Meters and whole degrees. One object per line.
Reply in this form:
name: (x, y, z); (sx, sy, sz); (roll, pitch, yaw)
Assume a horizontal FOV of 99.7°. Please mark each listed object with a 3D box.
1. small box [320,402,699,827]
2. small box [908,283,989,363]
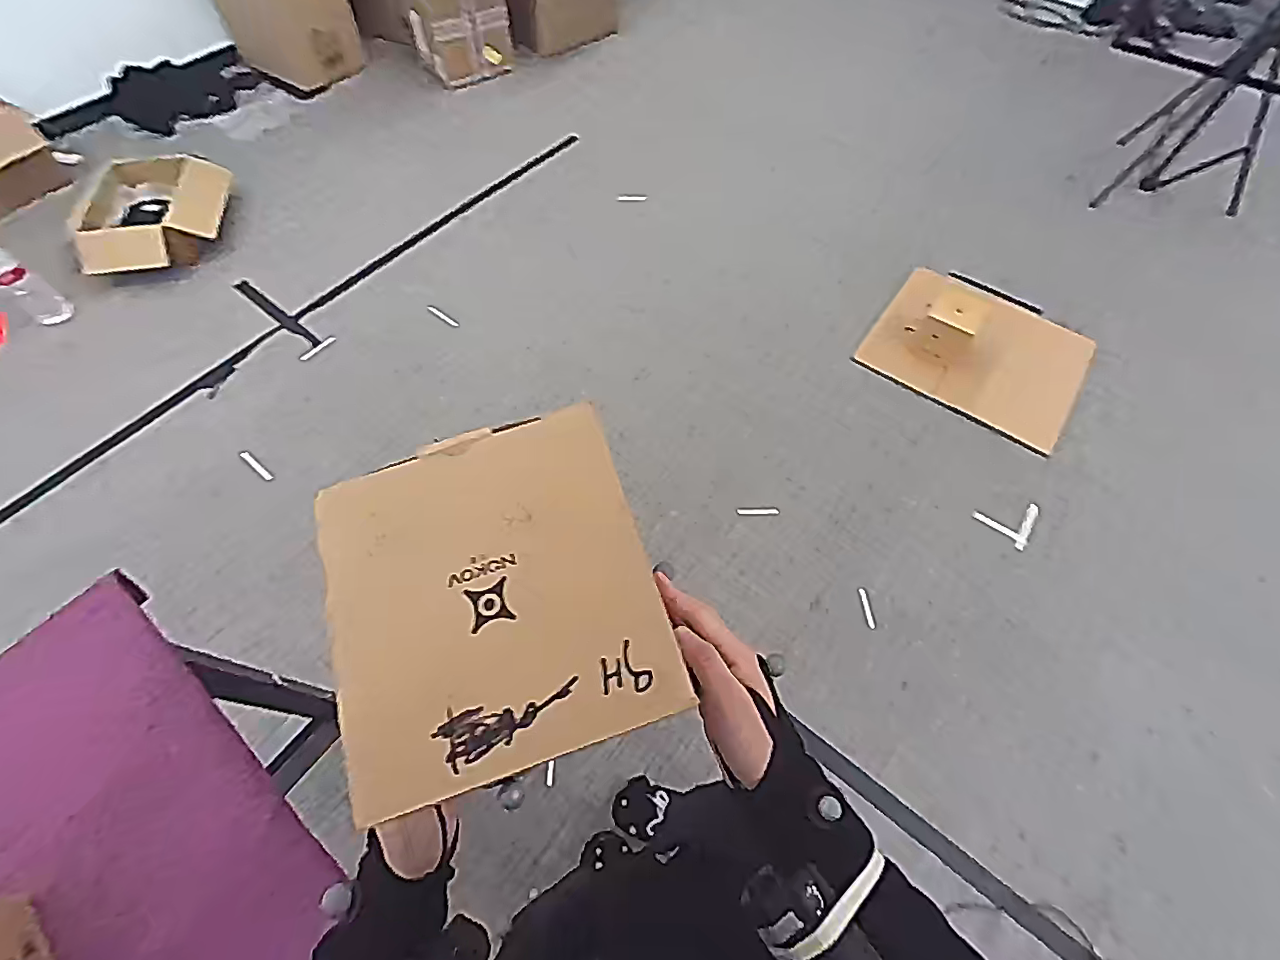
small box: (-0.068, 0.084, 0.347); (0.168, 0.176, 0.179); (-20, 69, -1)
small box: (1.062, -0.539, 1.876); (0.168, 0.176, 0.179); (31, 65, 16)
